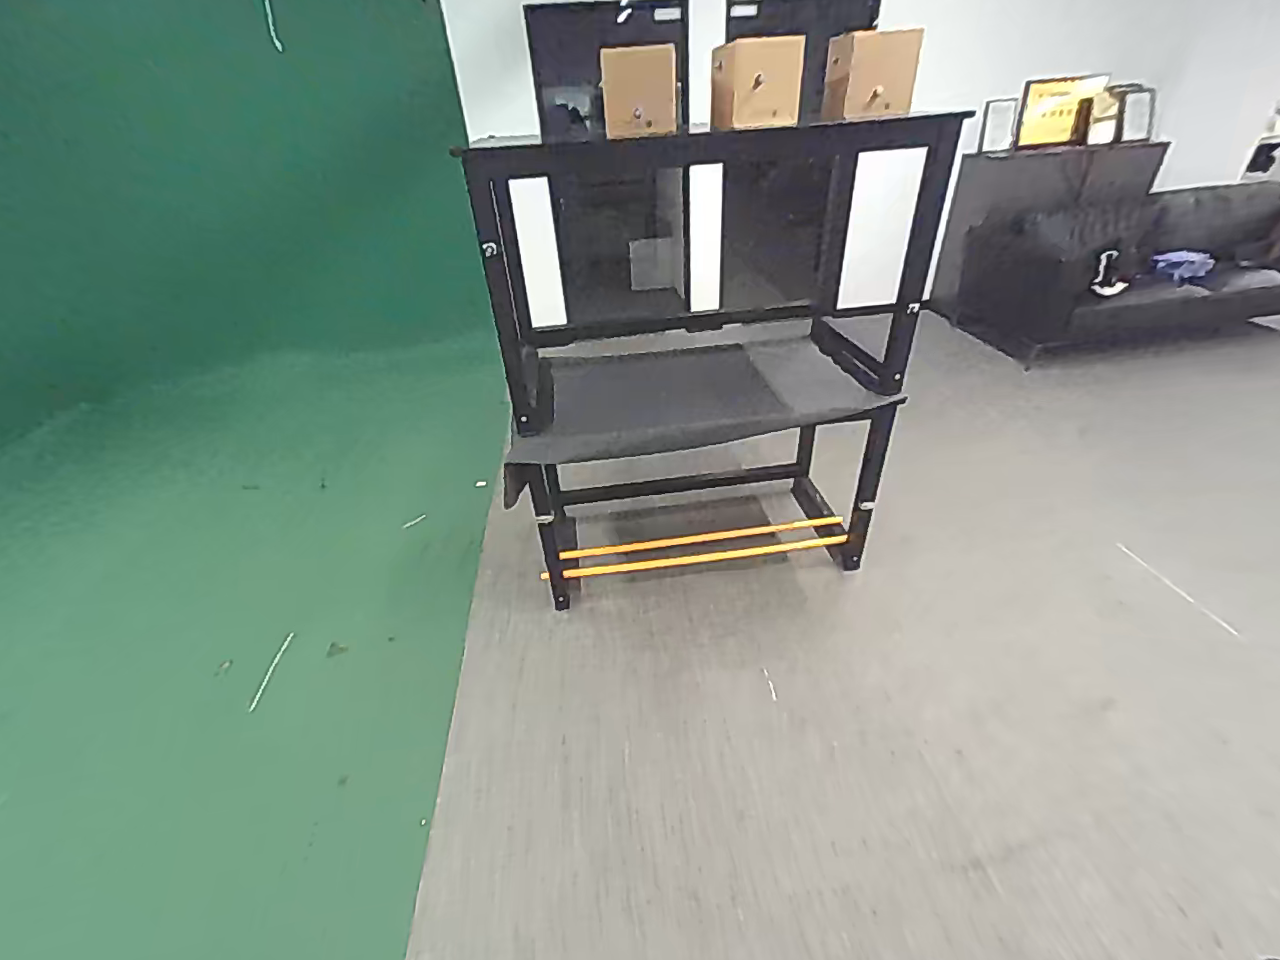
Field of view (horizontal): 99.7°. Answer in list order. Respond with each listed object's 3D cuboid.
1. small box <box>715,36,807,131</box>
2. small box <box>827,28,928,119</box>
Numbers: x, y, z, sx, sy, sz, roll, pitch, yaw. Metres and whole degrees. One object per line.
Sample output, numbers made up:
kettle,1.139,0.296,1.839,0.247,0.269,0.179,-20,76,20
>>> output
small box,0.286,-0.959,1.316,0.168,0.176,0.179,-10,34,-8
small box,0.576,-1.000,1.340,0.168,0.176,0.179,-4,35,1
